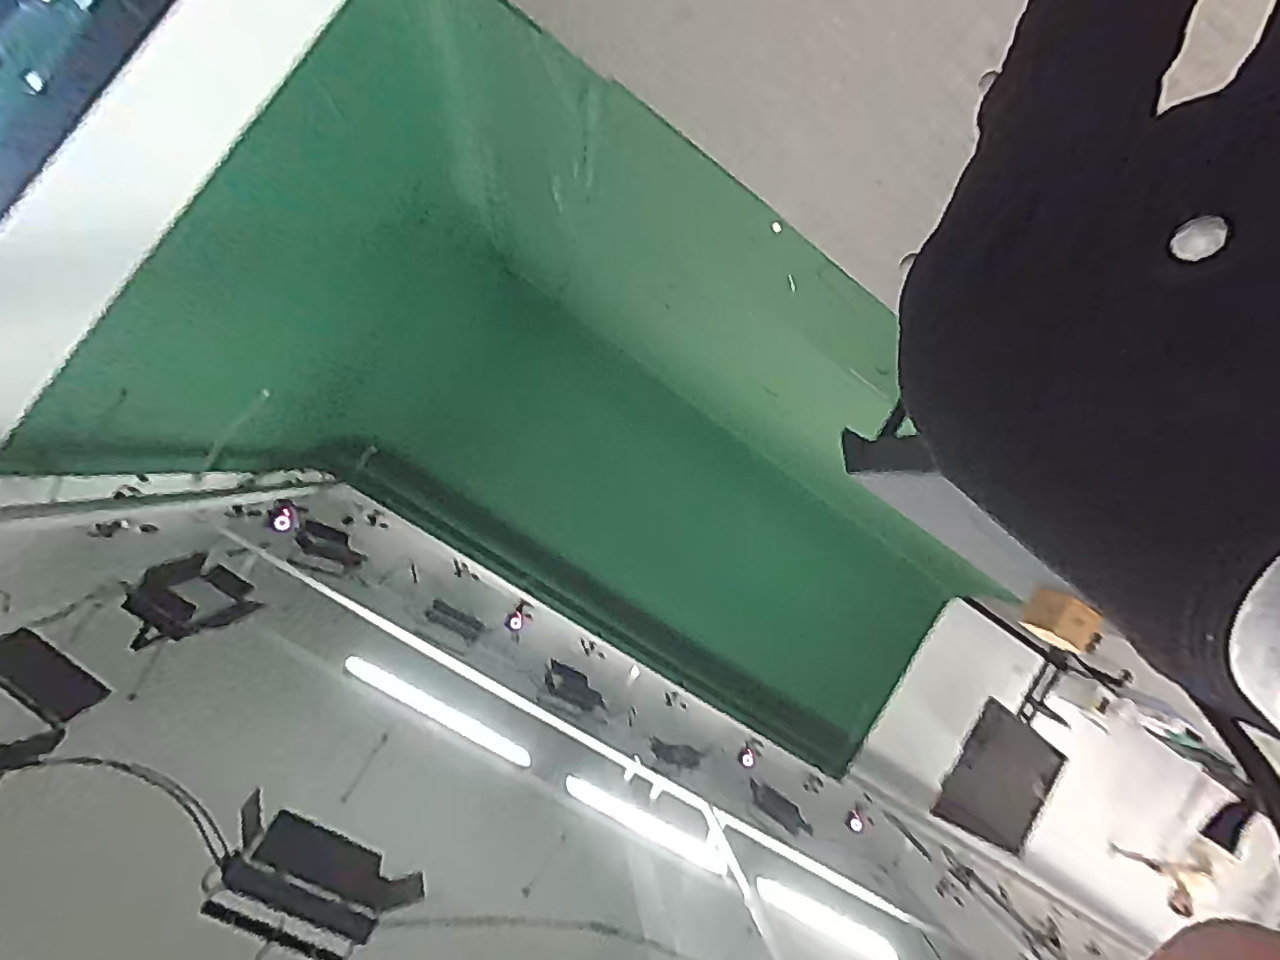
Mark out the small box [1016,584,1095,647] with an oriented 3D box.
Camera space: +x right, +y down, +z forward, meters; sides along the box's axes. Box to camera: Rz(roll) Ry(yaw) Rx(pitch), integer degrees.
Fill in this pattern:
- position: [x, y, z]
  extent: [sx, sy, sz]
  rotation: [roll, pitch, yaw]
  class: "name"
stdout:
- position: [1.691, 0.541, 2.193]
  extent: [0.168, 0.176, 0.179]
  rotation: [34, 175, -7]
  class: "small box"
